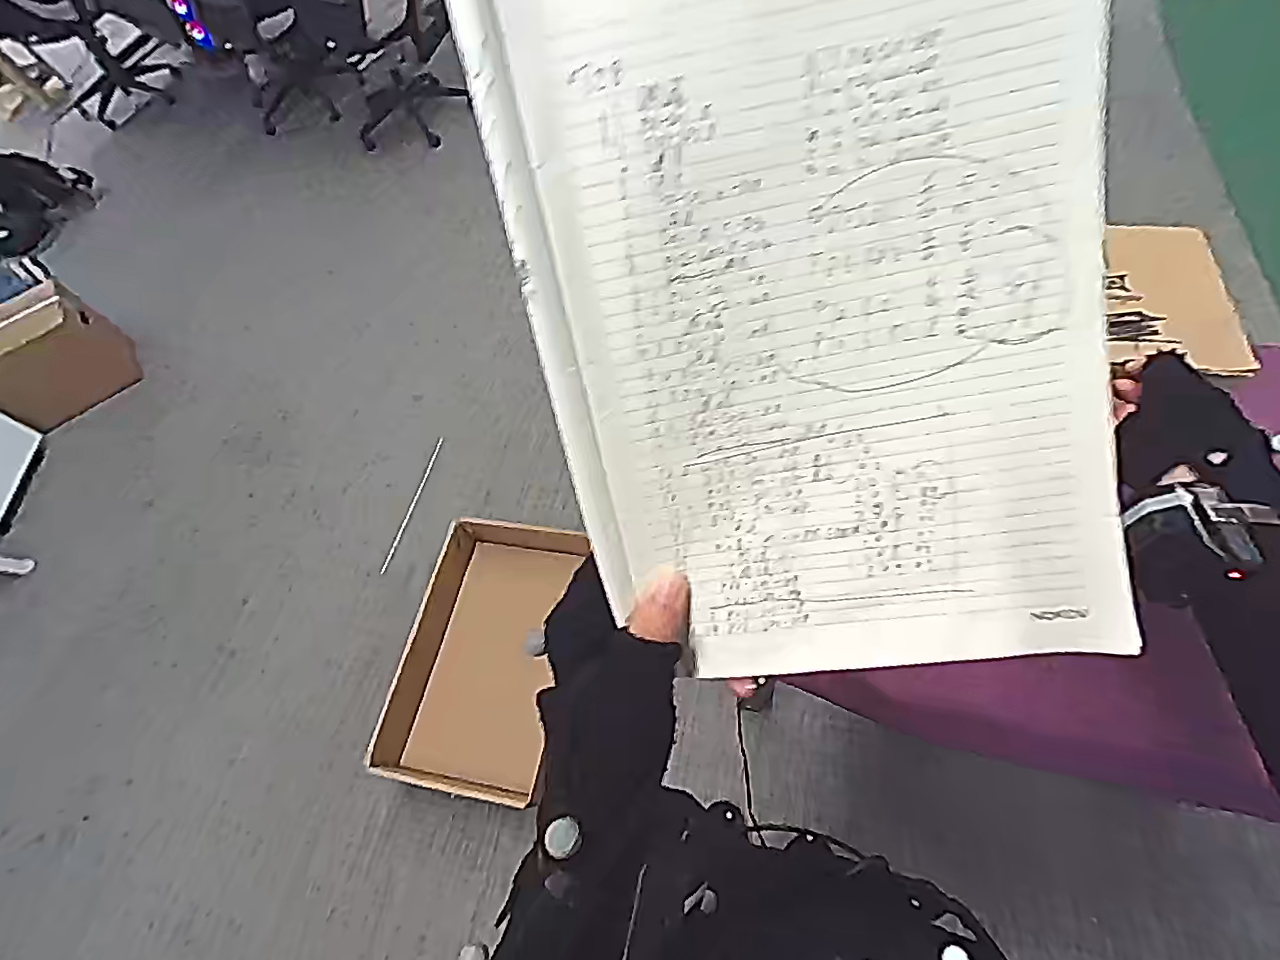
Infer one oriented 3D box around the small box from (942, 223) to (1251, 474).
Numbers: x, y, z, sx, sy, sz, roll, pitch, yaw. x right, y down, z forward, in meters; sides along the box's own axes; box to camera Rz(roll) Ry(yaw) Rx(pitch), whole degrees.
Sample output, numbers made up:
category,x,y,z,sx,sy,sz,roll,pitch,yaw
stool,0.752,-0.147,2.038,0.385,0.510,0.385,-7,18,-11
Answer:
category,x,y,z,sx,sy,sz,roll,pitch,yaw
small box,0.418,-0.124,0.537,0.168,0.176,0.179,8,61,12
